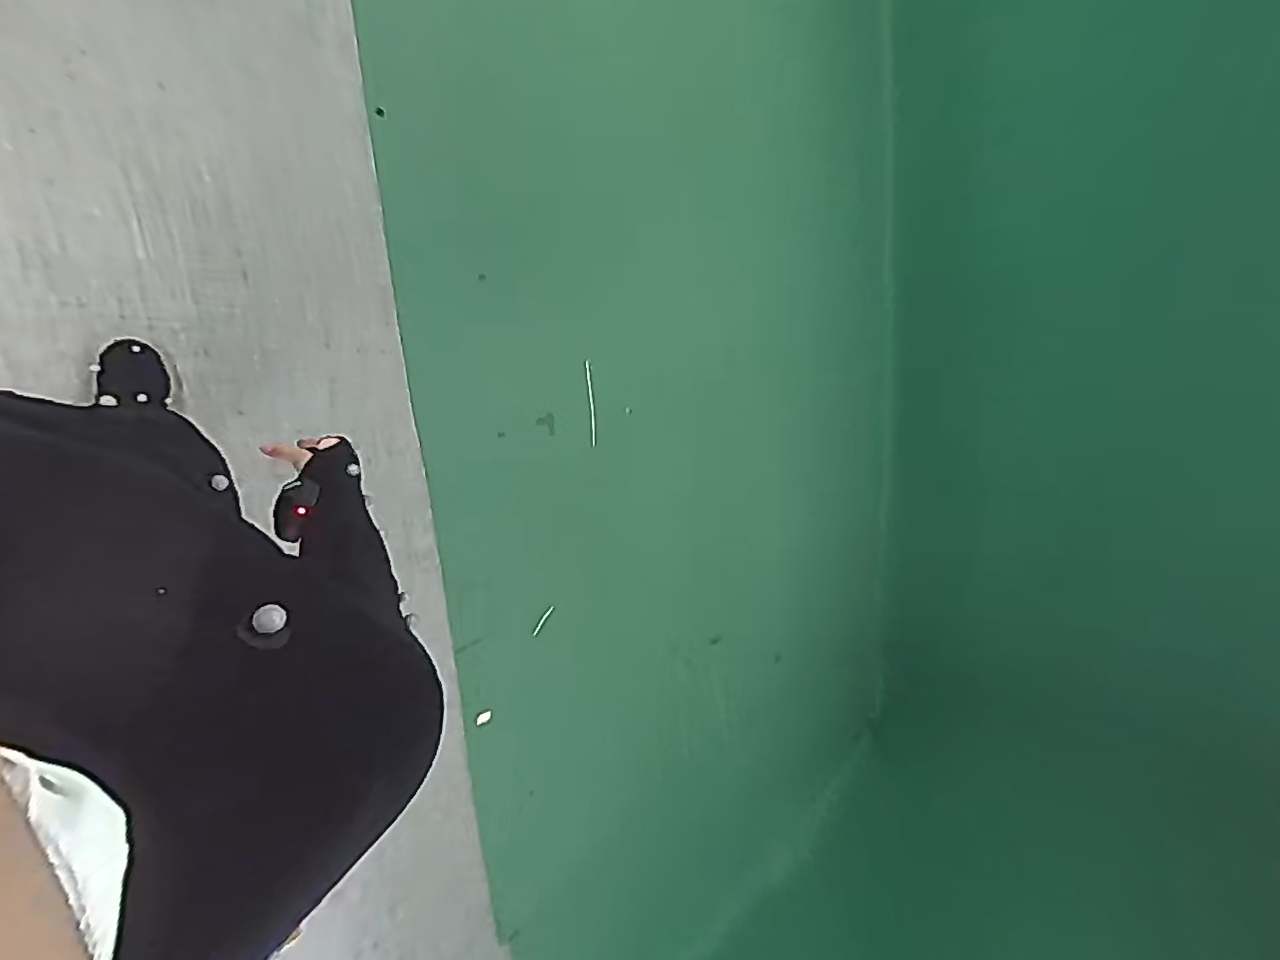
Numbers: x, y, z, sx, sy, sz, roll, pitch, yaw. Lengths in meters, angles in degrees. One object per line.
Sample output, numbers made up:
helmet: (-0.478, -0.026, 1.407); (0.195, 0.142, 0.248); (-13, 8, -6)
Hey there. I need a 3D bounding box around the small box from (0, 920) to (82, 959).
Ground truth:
small box: (-1.231, 1.027, 1.067); (0.168, 0.176, 0.179); (-11, 102, -41)
